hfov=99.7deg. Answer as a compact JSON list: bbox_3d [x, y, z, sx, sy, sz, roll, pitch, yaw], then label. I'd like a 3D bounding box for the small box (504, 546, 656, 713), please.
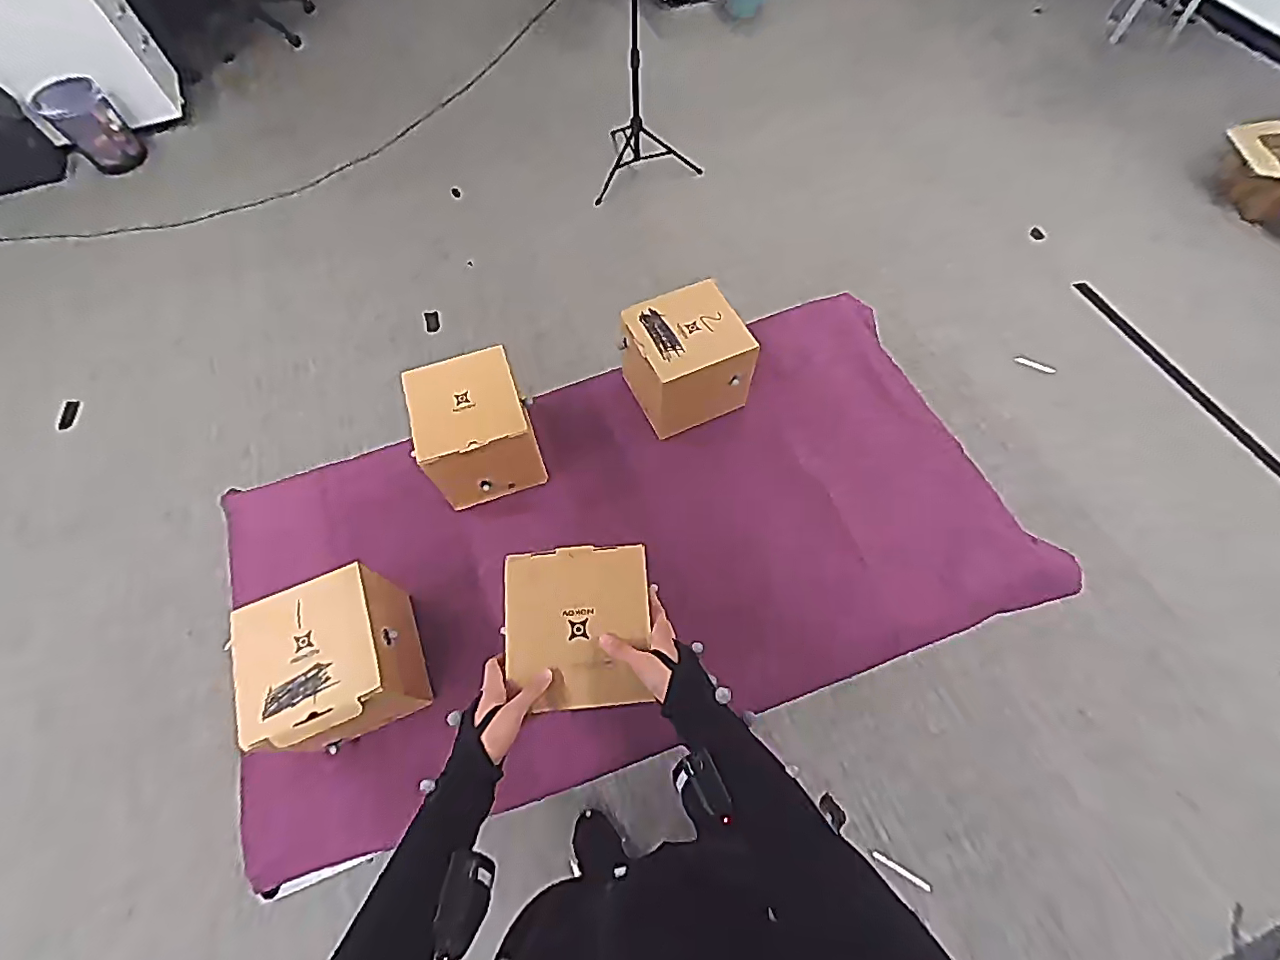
[{"bbox_3d":[-0.072,0.190,0.684,0.168,0.176,0.179,-4,72,-2],"label":"small box"}]

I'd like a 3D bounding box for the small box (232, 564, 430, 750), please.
[{"bbox_3d":[-0.408,0.244,0.735,0.168,0.176,0.179,-22,63,-9],"label":"small box"}]

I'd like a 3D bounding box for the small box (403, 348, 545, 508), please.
[{"bbox_3d":[-0.267,-0.081,0.892,0.168,0.176,0.179,-18,65,-8],"label":"small box"}]
